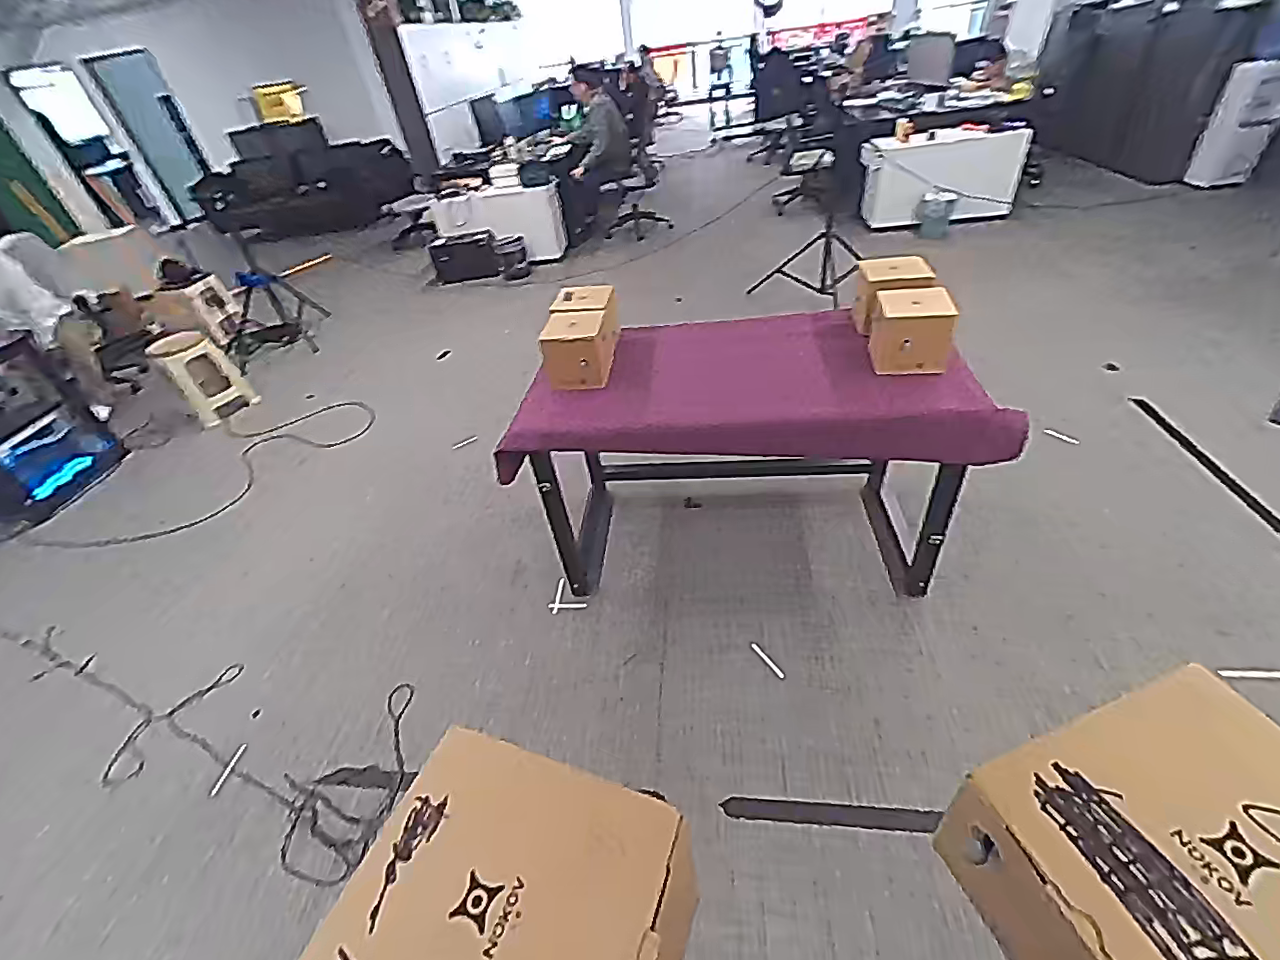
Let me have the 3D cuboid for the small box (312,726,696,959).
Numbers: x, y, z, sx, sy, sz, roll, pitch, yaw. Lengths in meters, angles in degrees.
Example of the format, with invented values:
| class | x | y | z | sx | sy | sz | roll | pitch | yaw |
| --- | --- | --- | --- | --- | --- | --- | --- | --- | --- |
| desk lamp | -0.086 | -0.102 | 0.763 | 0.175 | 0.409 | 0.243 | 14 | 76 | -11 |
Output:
| class | x | y | z | sx | sy | sz | roll | pitch | yaw |
| --- | --- | --- | --- | --- | --- | --- | --- | --- | --- |
| small box | -0.068 | 0.297 | 0.347 | 0.179 | 0.176 | 0.168 | 10 | 42 | 20 |

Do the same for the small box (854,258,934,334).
| class | x | y | z | sx | sy | sz | roll | pitch | yaw |
| --- | --- | --- | --- | --- | --- | --- | --- | --- | --- |
| small box | 0.744 | -0.543 | 1.608 | 0.179 | 0.176 | 0.168 | 0 | 42 | 9 |

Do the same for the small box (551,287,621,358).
| class | x | y | z | sx | sy | sz | roll | pitch | yaw |
| --- | --- | --- | --- | --- | --- | --- | --- | --- | --- |
| small box | -0.168 | -0.505 | 1.739 | 0.179 | 0.176 | 0.168 | 1 | 43 | 10 |

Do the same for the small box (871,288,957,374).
| class | x | y | z | sx | sy | sz | roll | pitch | yaw |
| --- | --- | --- | --- | --- | --- | --- | --- | --- | --- |
| small box | 0.722 | -0.393 | 1.444 | 0.168 | 0.176 | 0.179 | 1 | 40 | 13 |
